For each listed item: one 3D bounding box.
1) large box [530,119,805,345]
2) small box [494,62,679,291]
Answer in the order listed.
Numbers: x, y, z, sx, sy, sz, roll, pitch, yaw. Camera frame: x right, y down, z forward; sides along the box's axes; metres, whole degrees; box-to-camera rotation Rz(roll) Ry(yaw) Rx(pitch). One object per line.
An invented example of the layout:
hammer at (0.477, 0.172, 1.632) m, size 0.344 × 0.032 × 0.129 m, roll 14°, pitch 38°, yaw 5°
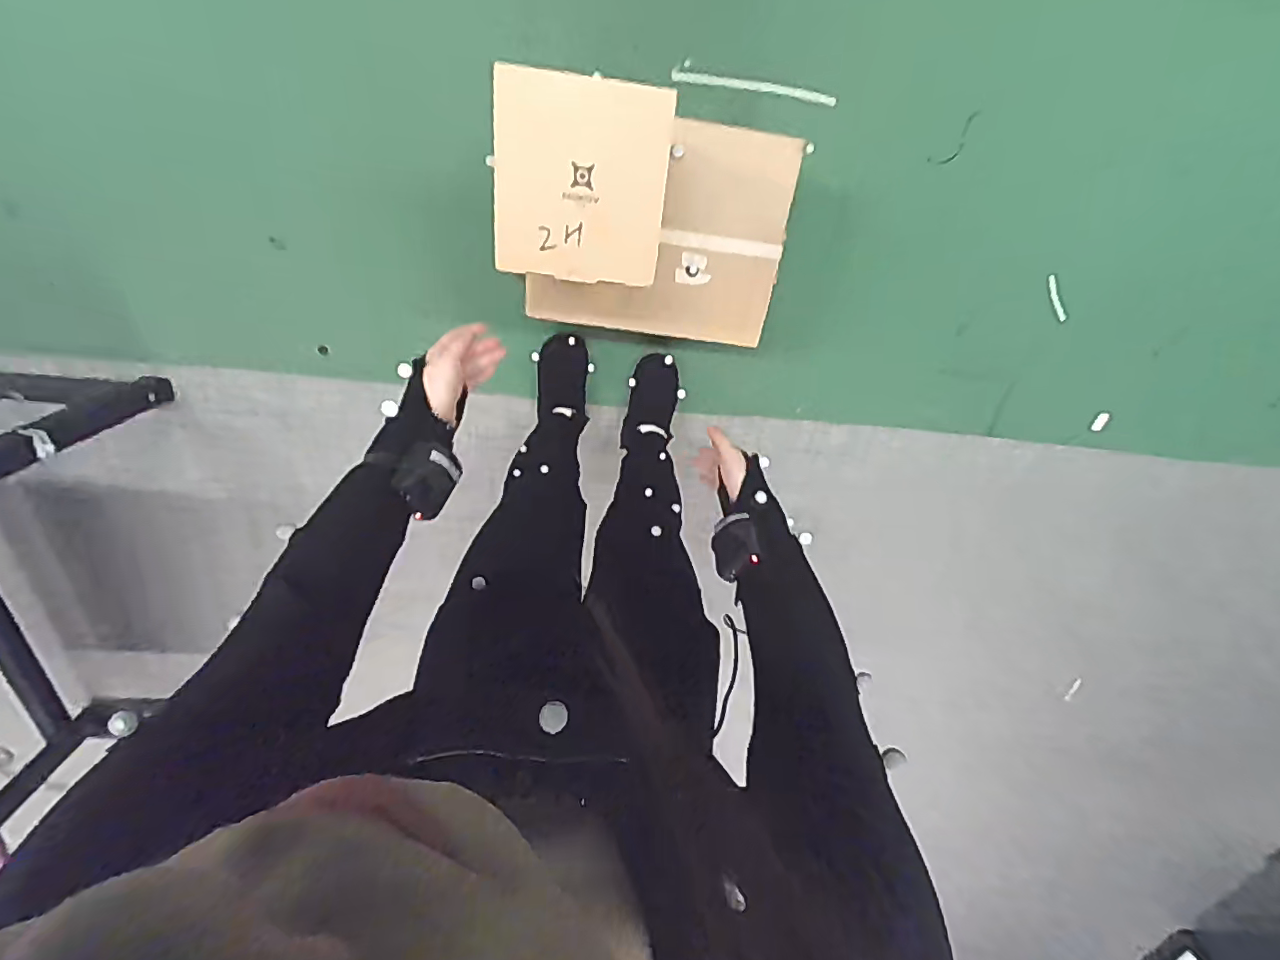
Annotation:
large box at (0.022, -0.452, 0.976) m, size 0.408 × 0.320 × 0.320 m, roll 6°, pitch 118°, yaw -6°
small box at (-0.059, -0.316, 0.585) m, size 0.168 × 0.176 × 0.179 m, roll 5°, pitch 118°, yaw -5°
